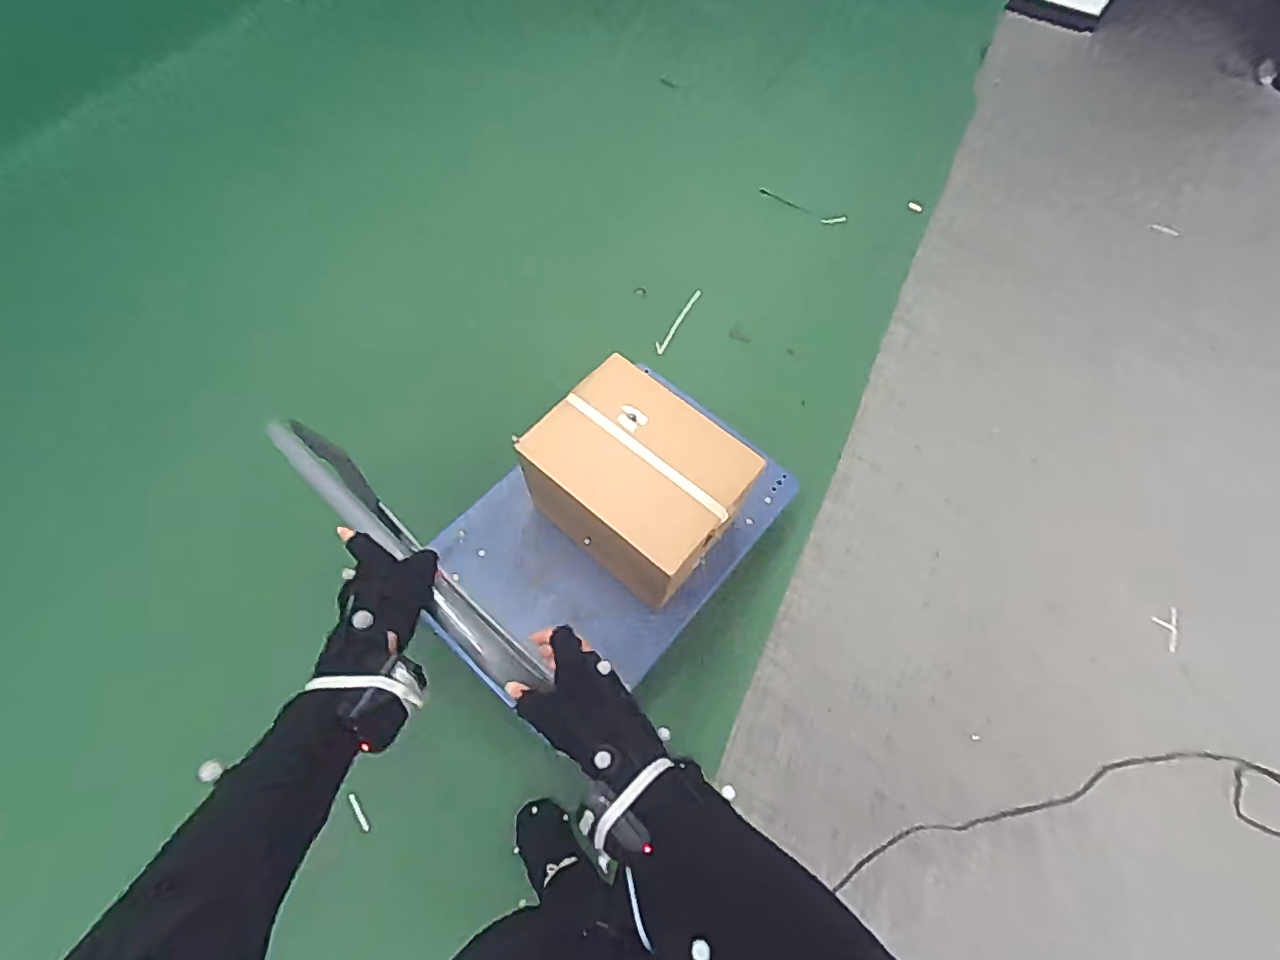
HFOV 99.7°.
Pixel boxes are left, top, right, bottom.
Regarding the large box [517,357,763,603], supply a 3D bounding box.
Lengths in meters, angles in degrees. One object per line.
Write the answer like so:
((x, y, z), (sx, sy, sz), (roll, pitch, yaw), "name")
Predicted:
((-0.003, 0.011, 1.213), (0.408, 0.320, 0.320), (38, 68, 14), "large box")
